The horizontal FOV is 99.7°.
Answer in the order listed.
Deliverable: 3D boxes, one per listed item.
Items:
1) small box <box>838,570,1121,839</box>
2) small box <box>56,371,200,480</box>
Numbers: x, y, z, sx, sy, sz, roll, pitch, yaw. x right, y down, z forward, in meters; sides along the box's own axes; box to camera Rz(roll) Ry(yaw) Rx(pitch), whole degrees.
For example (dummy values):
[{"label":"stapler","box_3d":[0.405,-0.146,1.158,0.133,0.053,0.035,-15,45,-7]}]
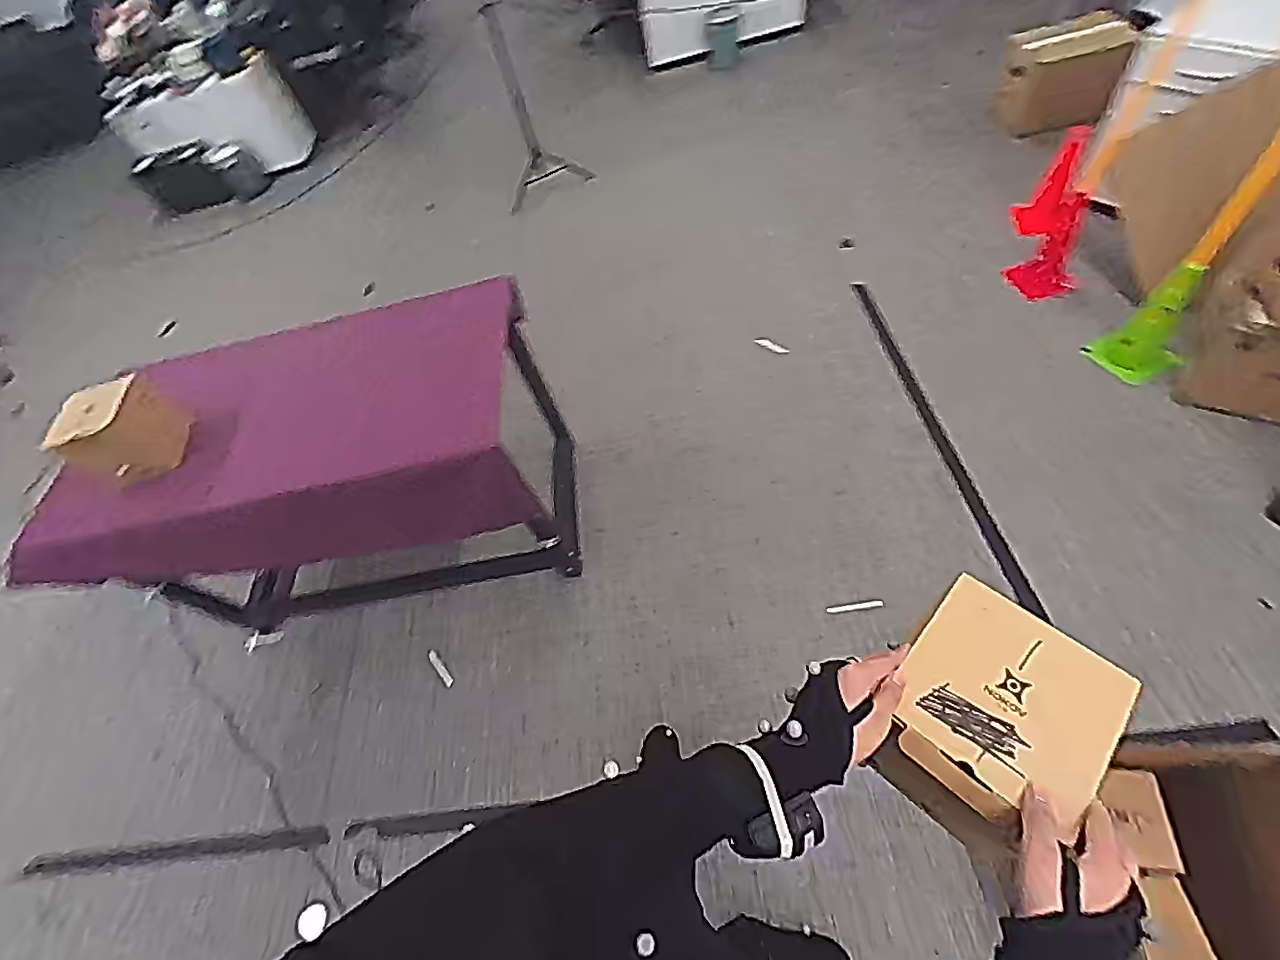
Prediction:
[{"label":"small box","box_3d":[0.325,0.234,0.556,0.168,0.176,0.179,35,64,26]},{"label":"small box","box_3d":[-1.226,-0.129,1.314,0.168,0.176,0.179,-17,55,2]}]
